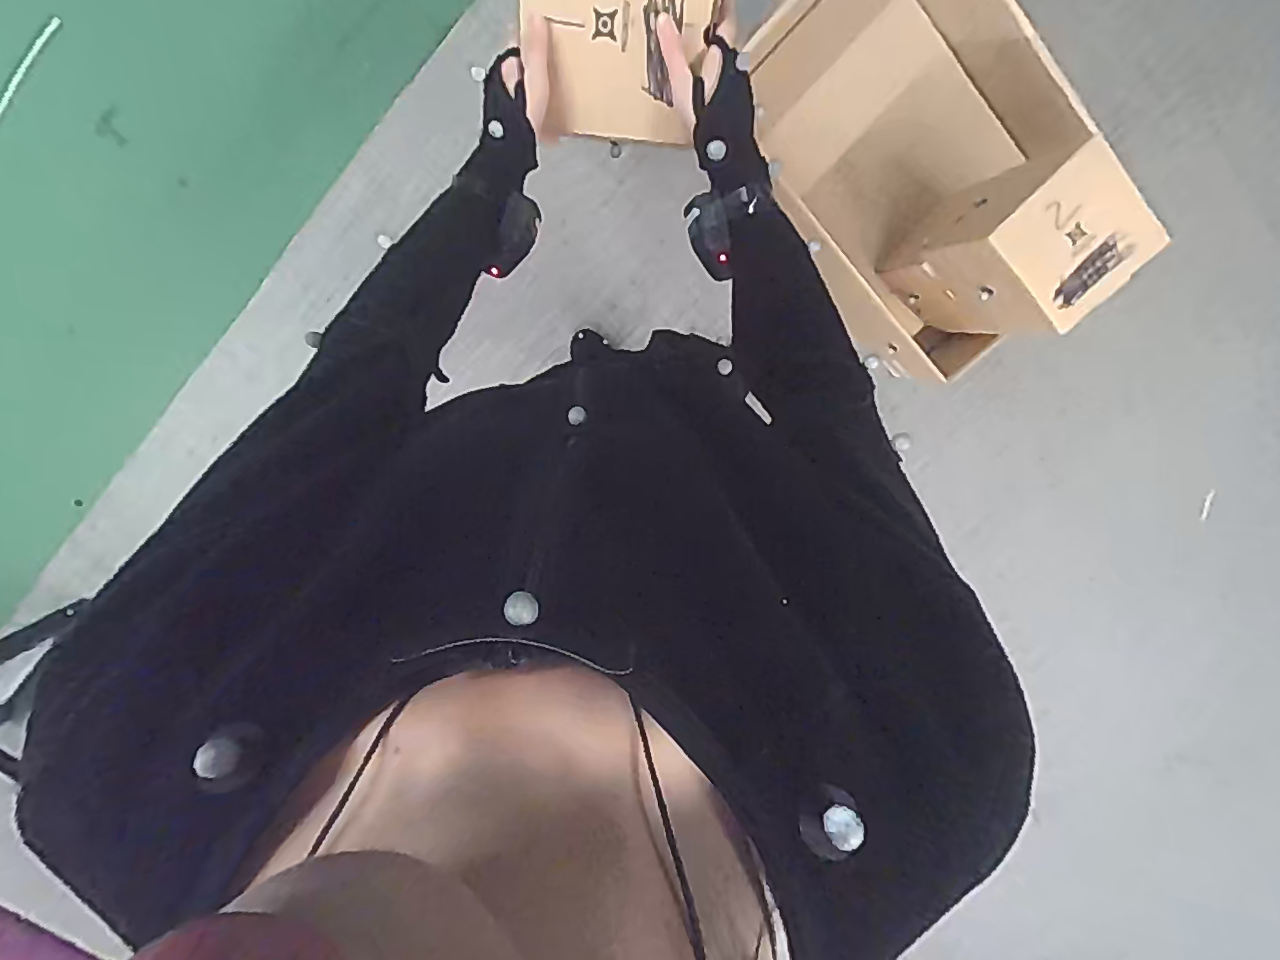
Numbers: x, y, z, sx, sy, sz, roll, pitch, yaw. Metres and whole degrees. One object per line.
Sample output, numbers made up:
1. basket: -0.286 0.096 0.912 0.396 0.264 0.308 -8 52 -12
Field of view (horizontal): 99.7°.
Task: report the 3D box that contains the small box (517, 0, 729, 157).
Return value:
1. small box: -0.010 -0.429 0.544 0.179 0.176 0.168 10 120 7
